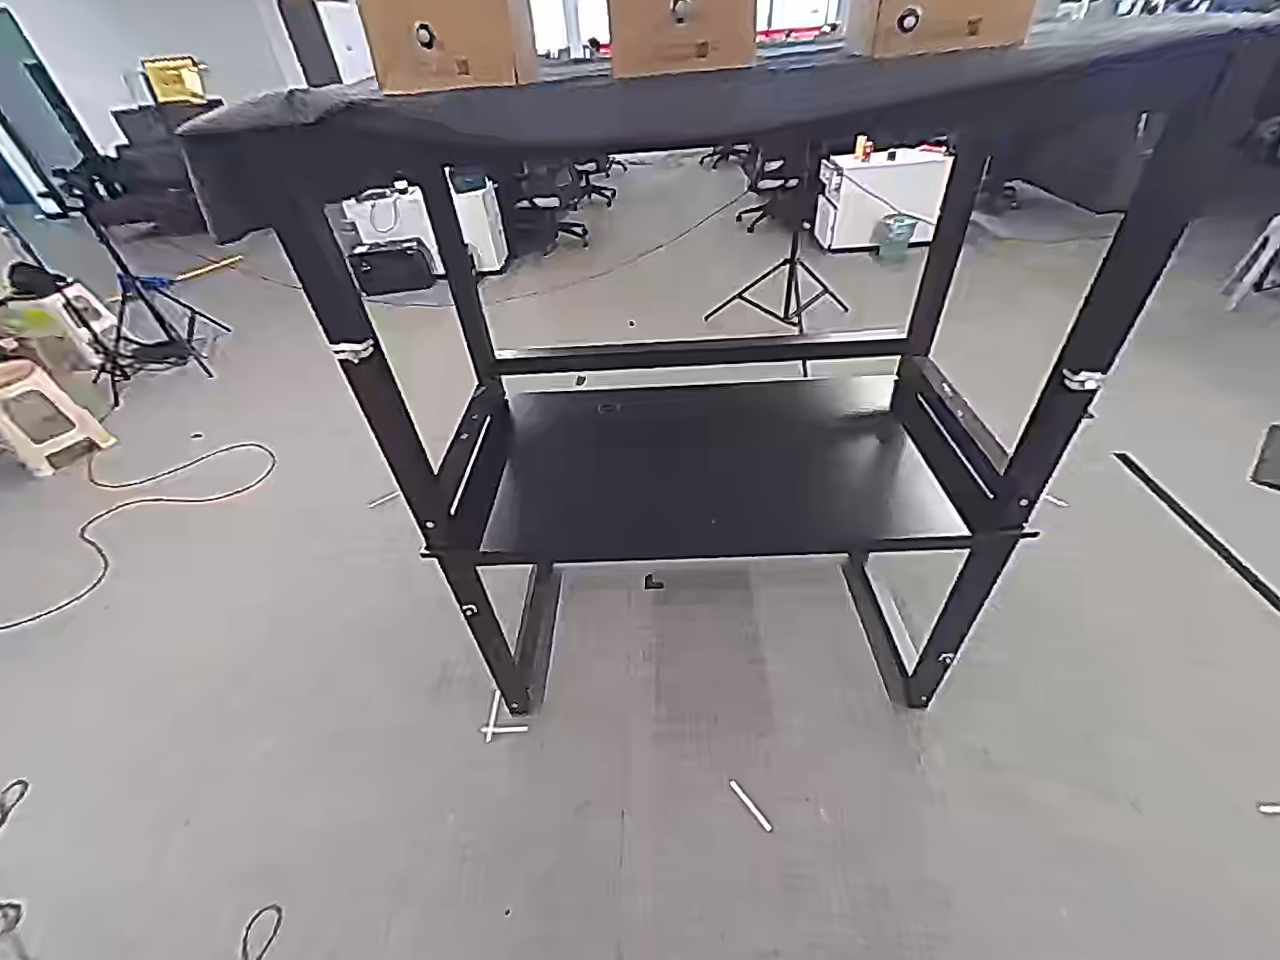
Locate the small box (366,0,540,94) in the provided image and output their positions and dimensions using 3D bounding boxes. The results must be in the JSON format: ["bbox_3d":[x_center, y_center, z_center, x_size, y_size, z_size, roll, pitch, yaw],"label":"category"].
[{"bbox_3d":[-0.222,-0.572,0.650,0.168,0.176,0.179,-2,39,2],"label":"small box"}]

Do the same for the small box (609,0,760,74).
[{"bbox_3d":[0.050,-0.585,0.633,0.168,0.176,0.179,-2,39,5],"label":"small box"}]

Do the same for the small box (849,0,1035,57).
[{"bbox_3d":[0.349,-0.600,0.618,0.168,0.176,0.179,0,39,7],"label":"small box"}]
